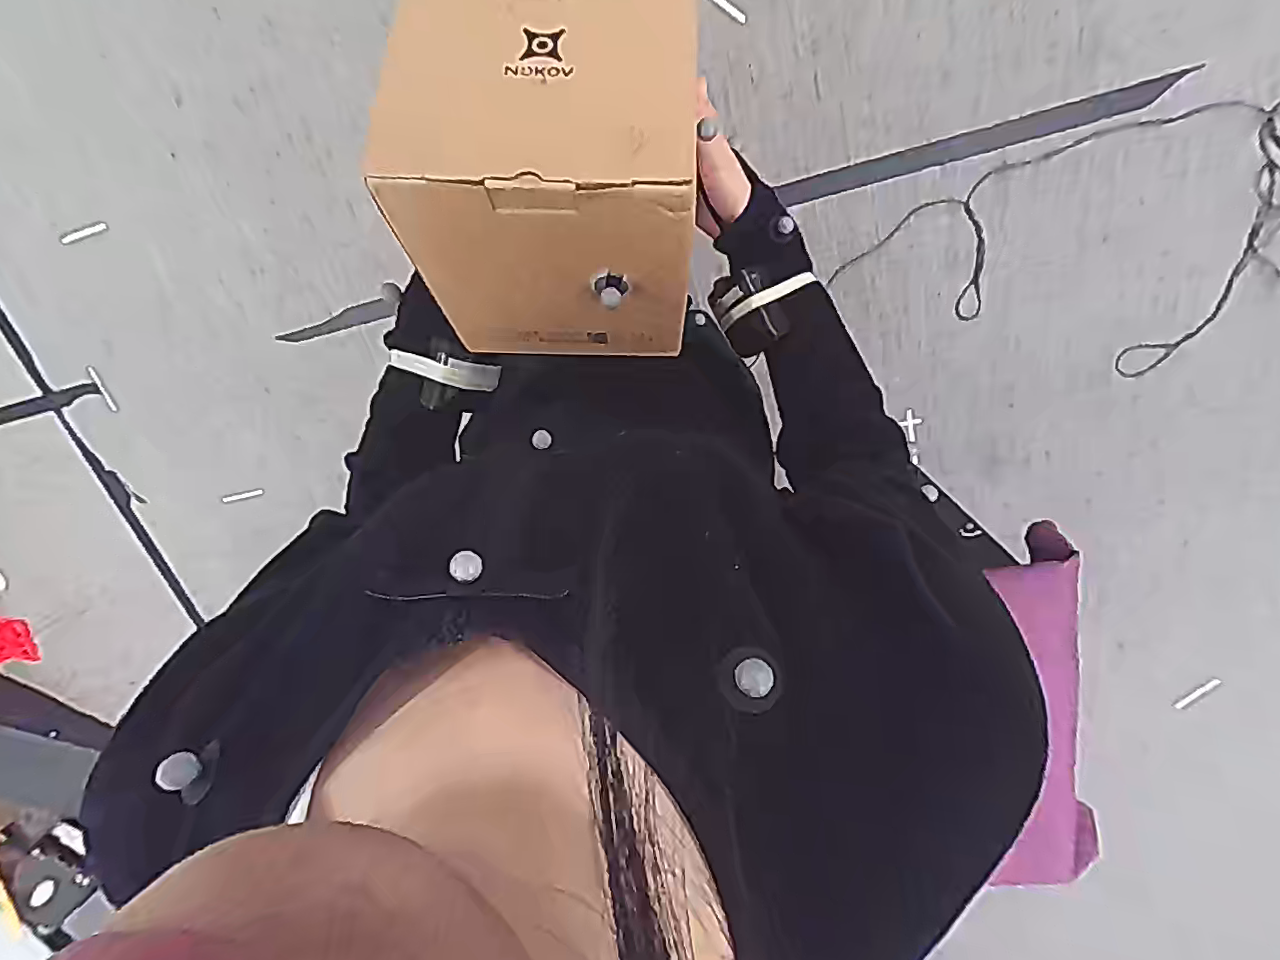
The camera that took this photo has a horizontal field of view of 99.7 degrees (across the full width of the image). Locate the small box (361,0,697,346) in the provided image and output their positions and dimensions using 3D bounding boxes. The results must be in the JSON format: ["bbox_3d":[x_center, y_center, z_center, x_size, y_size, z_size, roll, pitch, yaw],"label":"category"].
[{"bbox_3d":[-0.051,-0.205,0.359,0.168,0.176,0.179,2,73,0],"label":"small box"}]
